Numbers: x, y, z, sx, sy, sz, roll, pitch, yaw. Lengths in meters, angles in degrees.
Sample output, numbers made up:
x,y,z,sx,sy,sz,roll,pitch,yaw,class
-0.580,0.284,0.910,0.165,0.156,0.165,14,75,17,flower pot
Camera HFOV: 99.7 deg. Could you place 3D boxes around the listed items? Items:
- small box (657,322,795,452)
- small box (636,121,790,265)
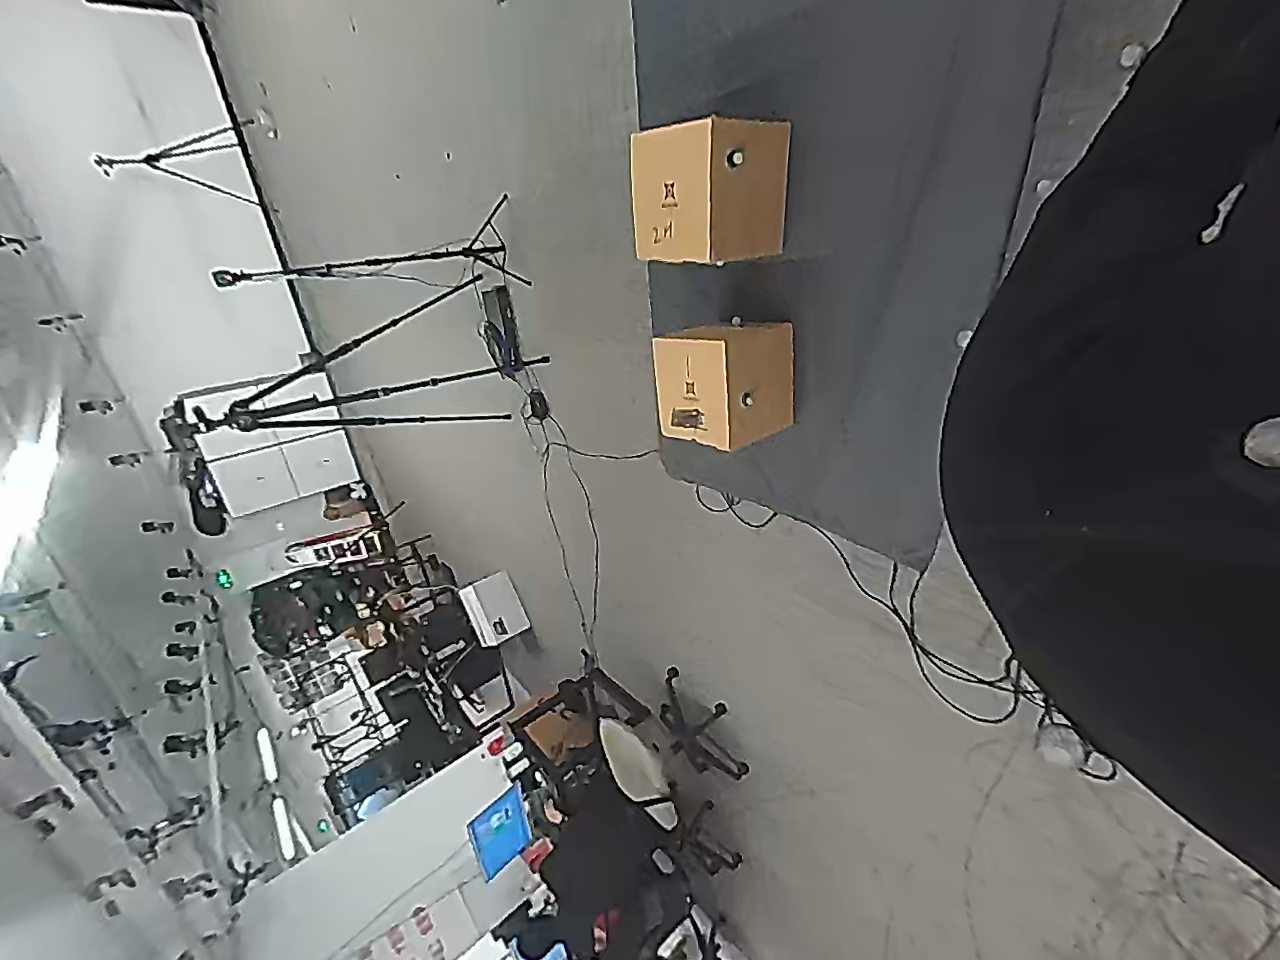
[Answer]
x,y,z,sx,sy,sz,roll,pitch,yaw,class
0.152,-0.168,0.933,0.168,0.176,0.179,19,123,48,small box
0.112,-0.434,0.830,0.168,0.176,0.179,27,130,45,small box
